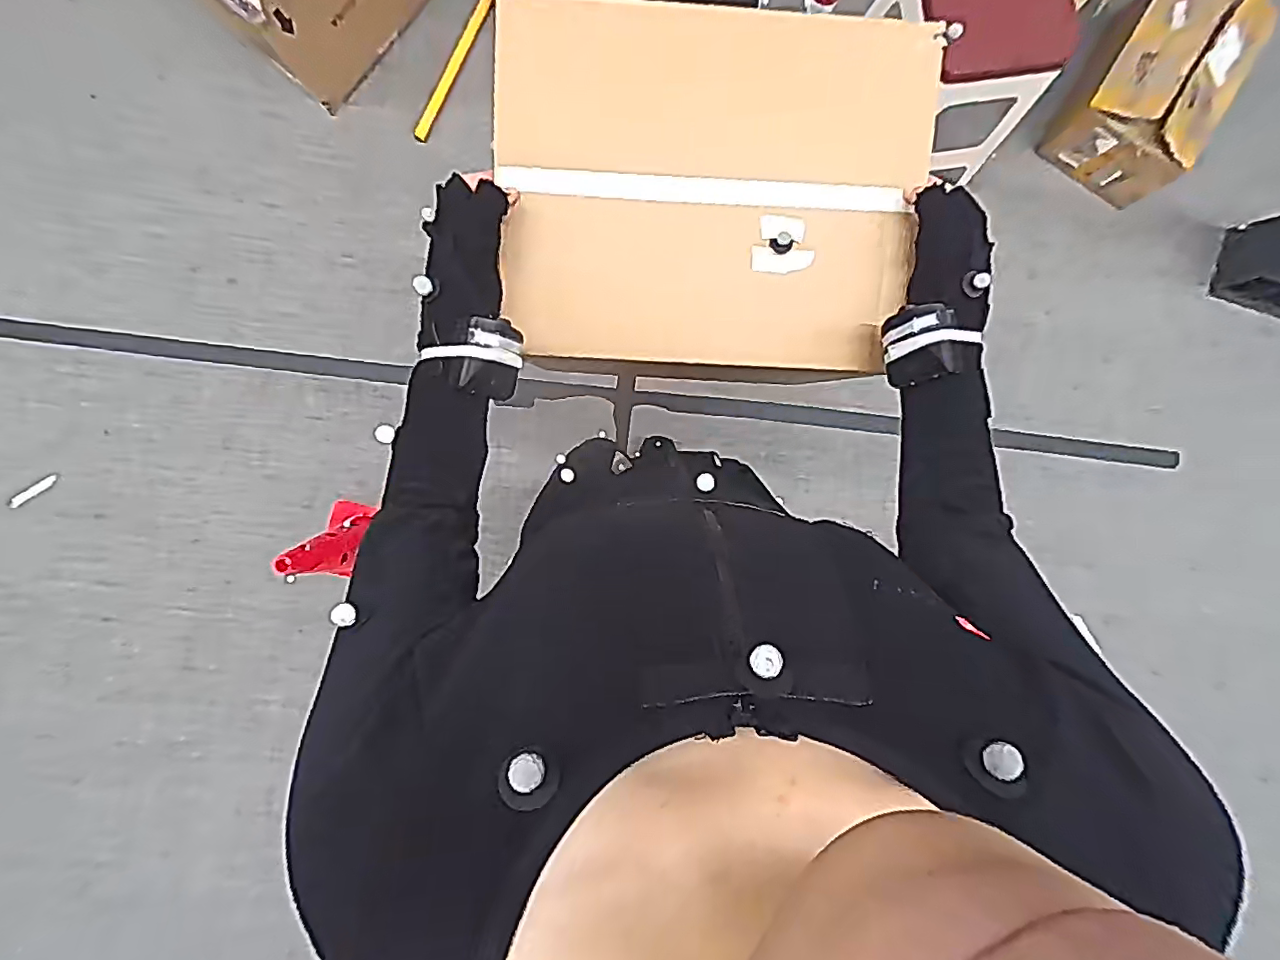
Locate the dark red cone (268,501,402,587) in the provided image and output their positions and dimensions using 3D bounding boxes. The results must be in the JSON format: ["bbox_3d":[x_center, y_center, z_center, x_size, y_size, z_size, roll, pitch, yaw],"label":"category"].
[{"bbox_3d":[-0.725,0.167,1.251,0.201,0.394,0.202,13,90,-3],"label":"dark red cone"}]

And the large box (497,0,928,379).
[{"bbox_3d":[0.059,-0.293,0.657,0.408,0.320,0.320,2,98,-3],"label":"large box"}]

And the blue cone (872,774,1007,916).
[{"bbox_3d":[0.759,0.927,1.355,0.192,0.380,0.193,10,90,-3],"label":"blue cone"}]
